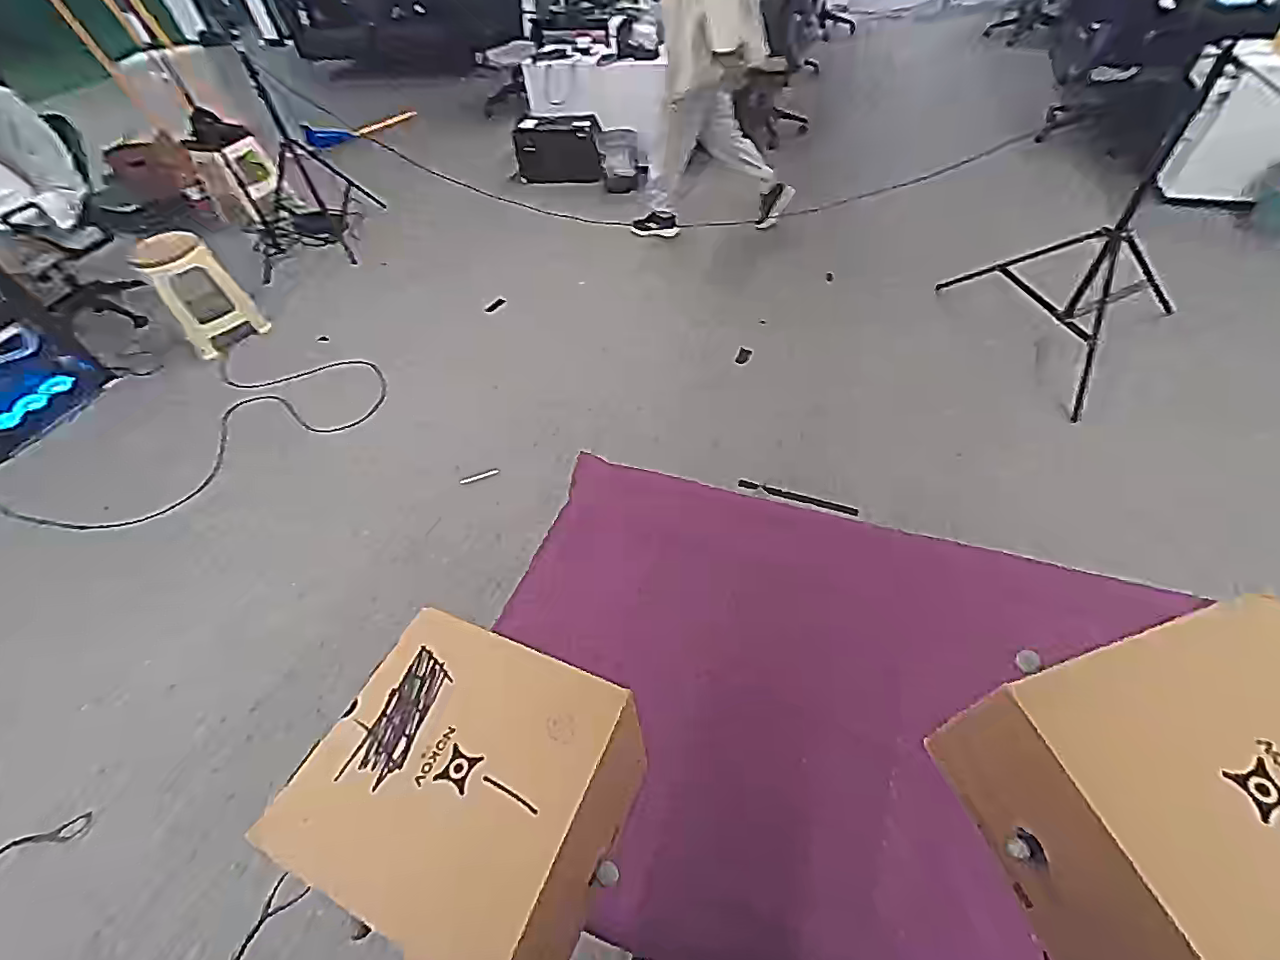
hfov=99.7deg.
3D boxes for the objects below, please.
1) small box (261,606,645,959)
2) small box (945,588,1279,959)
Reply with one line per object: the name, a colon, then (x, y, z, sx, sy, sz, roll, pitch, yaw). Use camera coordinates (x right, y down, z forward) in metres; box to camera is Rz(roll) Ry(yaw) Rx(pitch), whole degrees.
small box: (-0.108, 0.226, 0.394, 0.179, 0.176, 0.168, 16, 51, 19)
small box: (0.322, 0.197, 0.332, 0.179, 0.176, 0.168, -18, 54, -5)
